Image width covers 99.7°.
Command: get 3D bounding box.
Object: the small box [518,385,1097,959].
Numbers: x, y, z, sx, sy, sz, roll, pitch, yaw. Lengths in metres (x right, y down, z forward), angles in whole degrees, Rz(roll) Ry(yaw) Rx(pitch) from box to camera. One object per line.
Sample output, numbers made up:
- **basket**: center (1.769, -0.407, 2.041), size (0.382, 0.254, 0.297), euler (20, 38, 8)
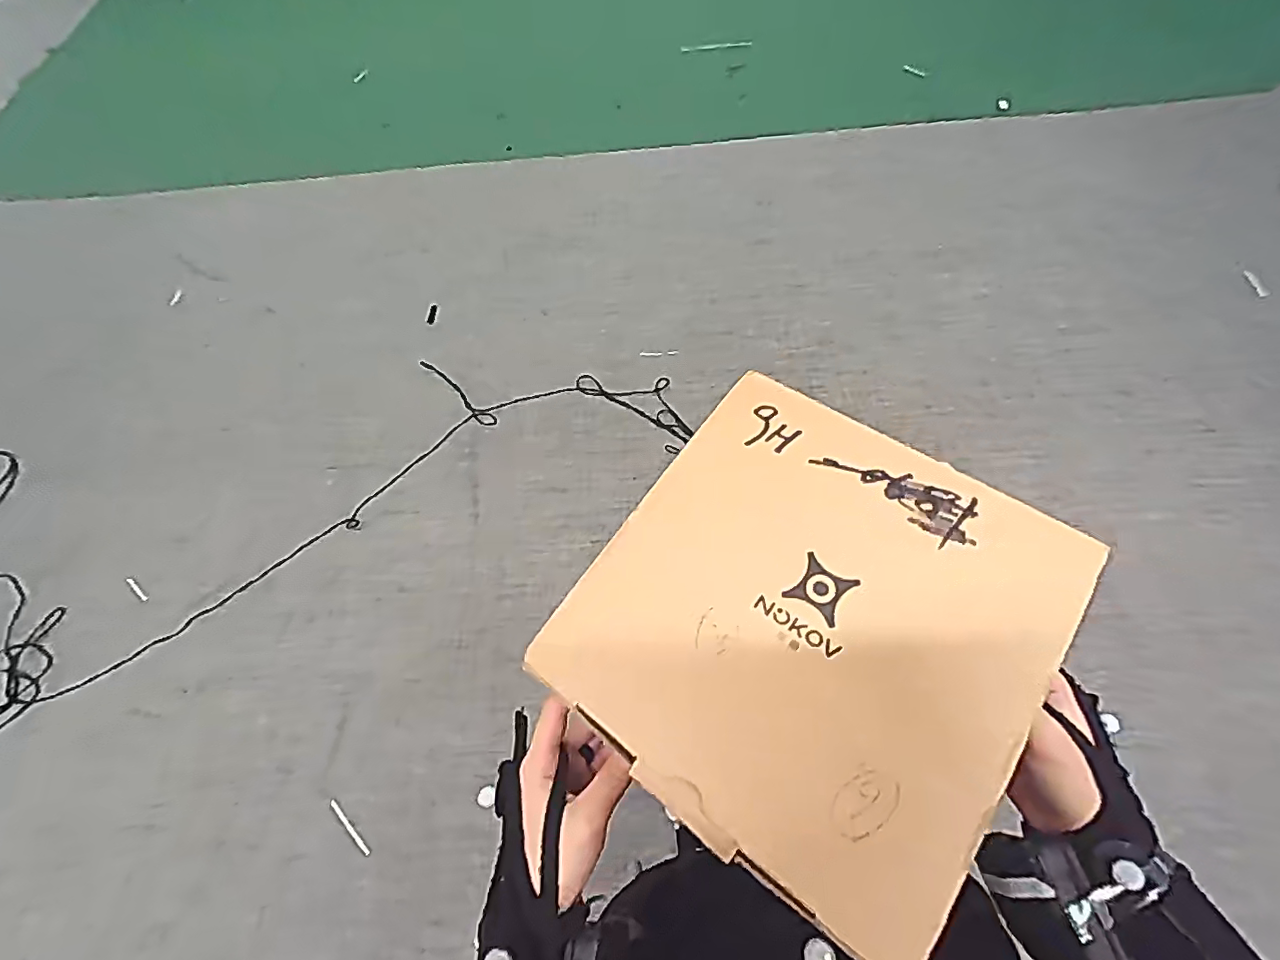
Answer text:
- **small box**: center (0.074, 0.091, 0.286), size (0.168, 0.176, 0.179), euler (33, 73, 22)
